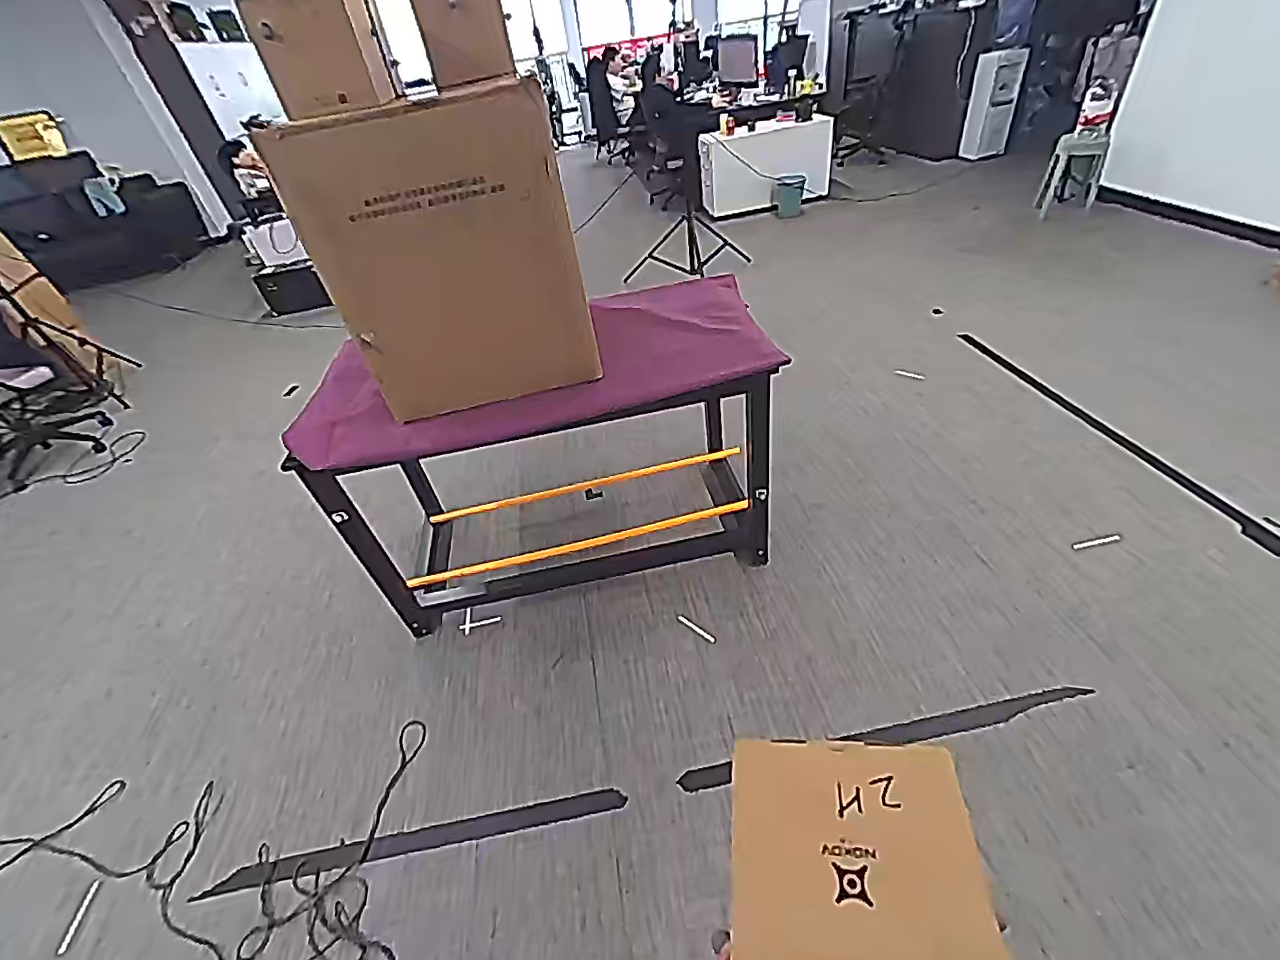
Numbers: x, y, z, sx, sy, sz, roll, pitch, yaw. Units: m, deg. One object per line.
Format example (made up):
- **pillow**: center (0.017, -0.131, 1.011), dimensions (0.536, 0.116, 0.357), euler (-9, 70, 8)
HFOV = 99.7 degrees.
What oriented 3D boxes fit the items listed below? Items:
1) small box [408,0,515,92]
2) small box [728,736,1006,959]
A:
- **small box**: center (-0.365, -0.939, 1.133), dimensions (0.179, 0.176, 0.168), euler (-15, 40, -3)
- **small box**: center (0.161, 0.324, 0.415), dimensions (0.168, 0.176, 0.179), euler (-4, 39, 14)
